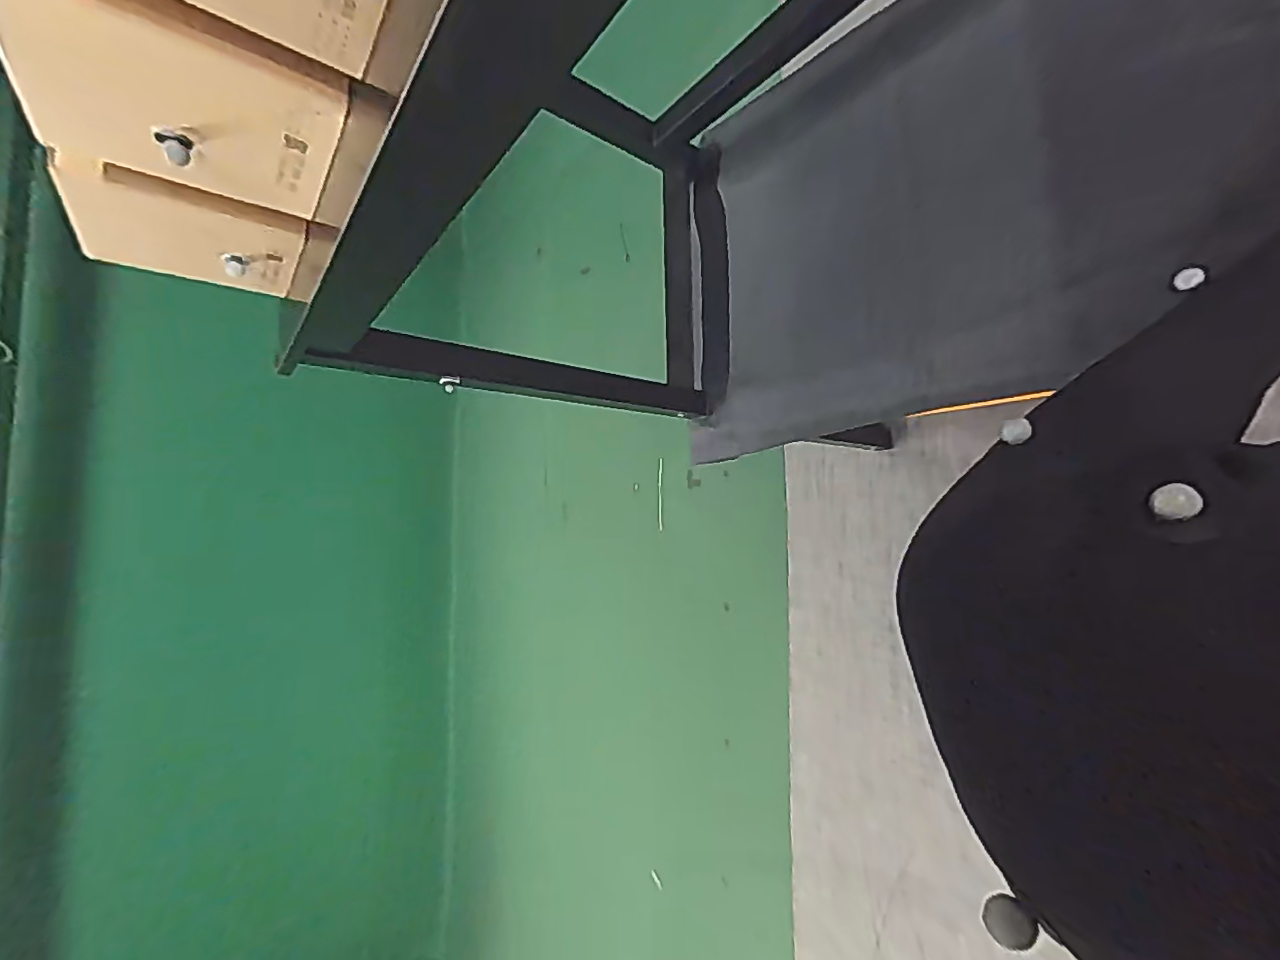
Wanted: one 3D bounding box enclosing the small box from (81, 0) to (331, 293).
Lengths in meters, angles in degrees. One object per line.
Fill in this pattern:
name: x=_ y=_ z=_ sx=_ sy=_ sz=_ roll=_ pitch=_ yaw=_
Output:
small box: x=-0.414 y=-0.311 z=0.533 sx=0.168 sy=0.176 sz=0.179 roll=-8 pitch=83 yaw=52
